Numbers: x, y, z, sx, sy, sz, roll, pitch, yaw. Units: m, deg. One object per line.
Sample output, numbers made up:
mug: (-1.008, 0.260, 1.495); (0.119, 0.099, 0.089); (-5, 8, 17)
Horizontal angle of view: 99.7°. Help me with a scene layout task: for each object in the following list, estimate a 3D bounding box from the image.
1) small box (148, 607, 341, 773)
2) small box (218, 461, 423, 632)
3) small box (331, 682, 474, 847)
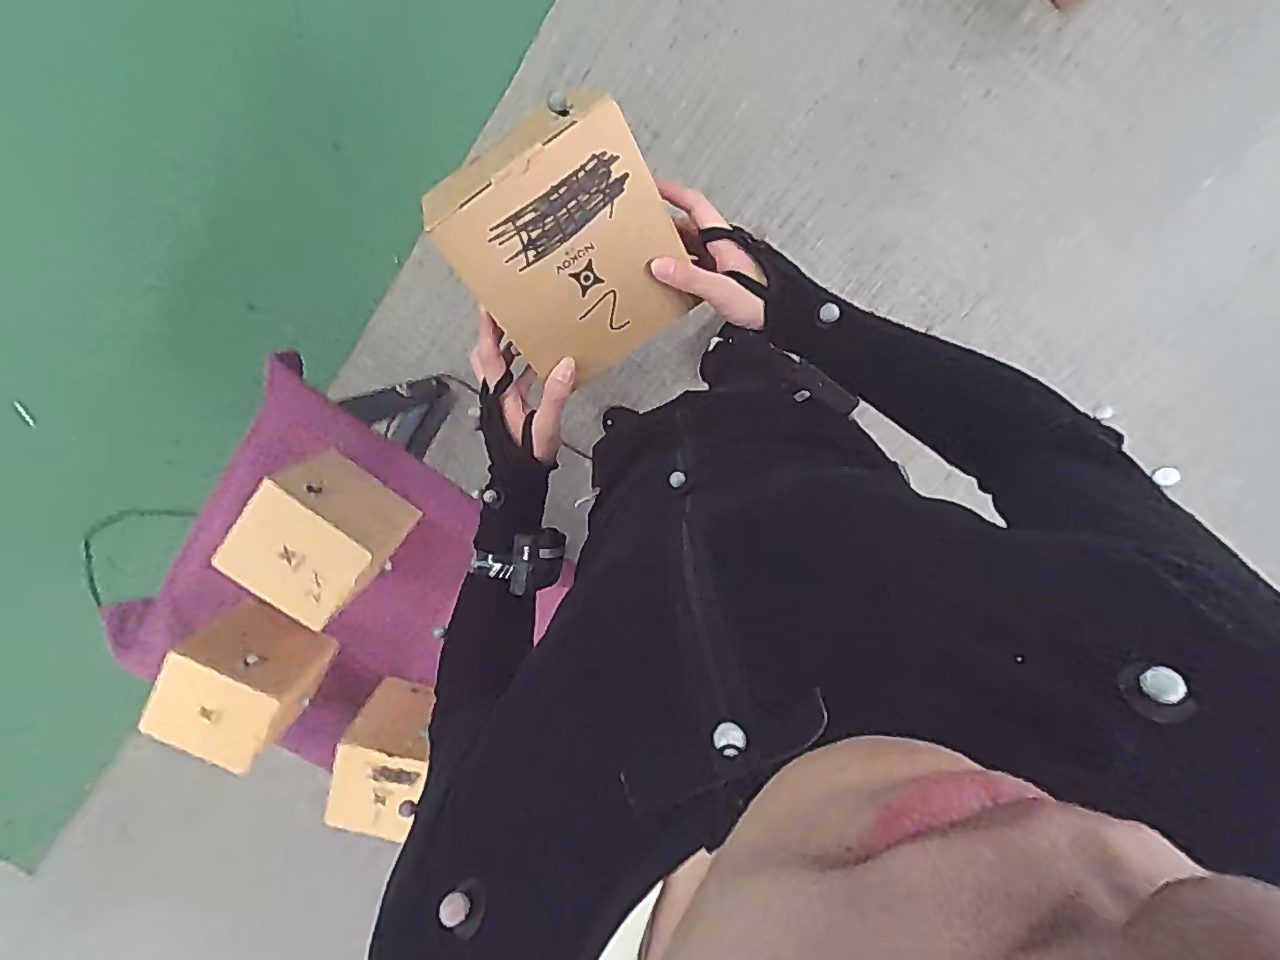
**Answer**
small box: (-0.653, 0.342, 0.913); (0.179, 0.176, 0.168); (29, 104, -9)
small box: (-0.476, 0.089, 0.832); (0.179, 0.176, 0.168); (39, 105, -10)
small box: (-0.407, 0.490, 0.951); (0.168, 0.176, 0.179); (17, 106, -4)
